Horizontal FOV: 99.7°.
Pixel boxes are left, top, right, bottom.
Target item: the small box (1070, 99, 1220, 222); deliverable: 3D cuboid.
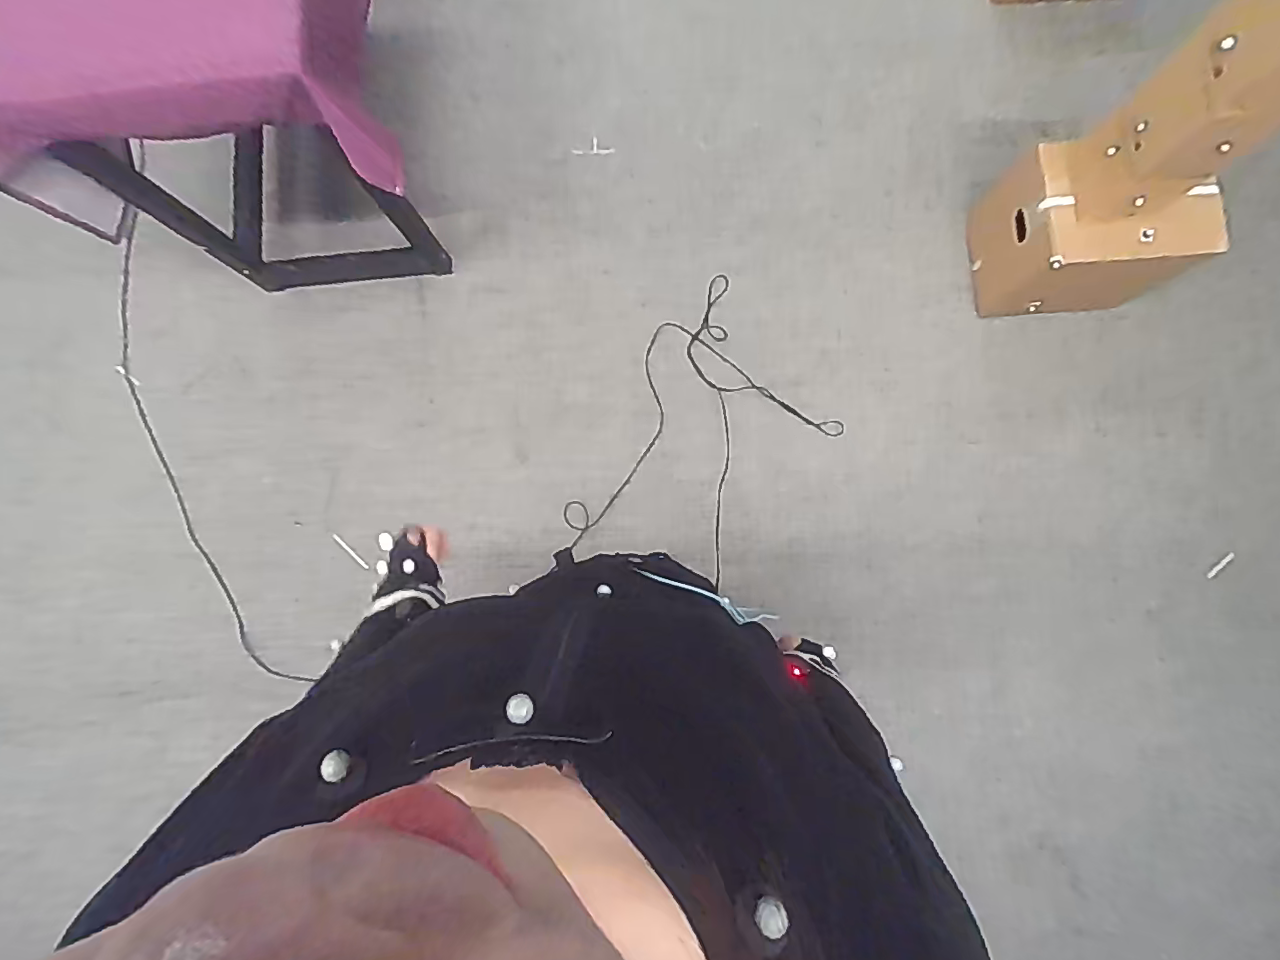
[{"bbox_3d":[1.108,-0.696,1.201,0.168,0.176,0.179,-4,82,1],"label":"small box"}]
